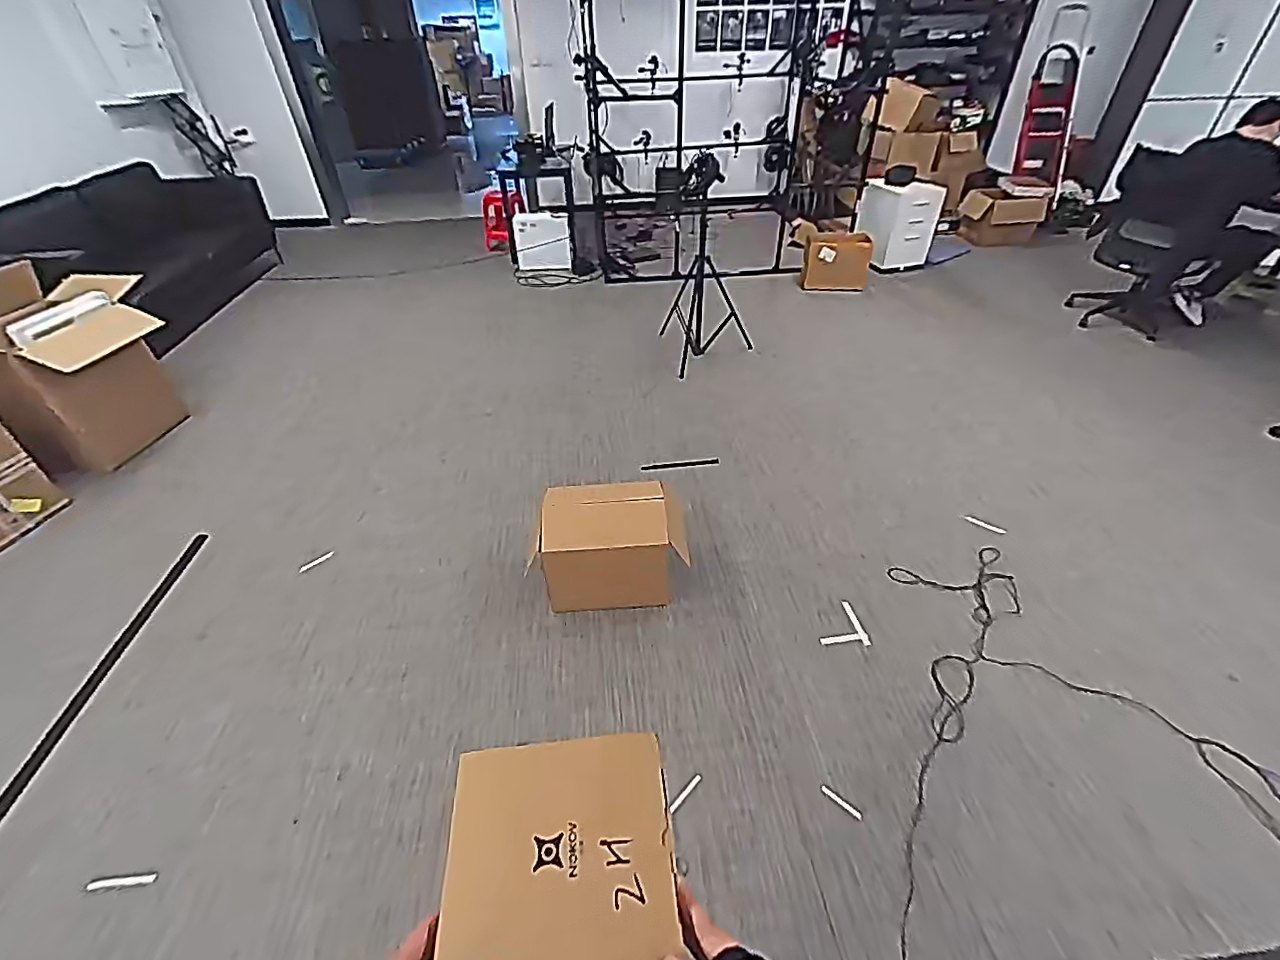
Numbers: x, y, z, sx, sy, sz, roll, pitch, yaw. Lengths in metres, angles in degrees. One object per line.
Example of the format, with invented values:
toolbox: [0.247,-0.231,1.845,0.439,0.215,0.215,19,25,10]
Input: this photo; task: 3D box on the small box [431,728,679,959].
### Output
small box: [-0.063,0.343,0.478,0.179,0.176,0.168,-5,45,-3]
